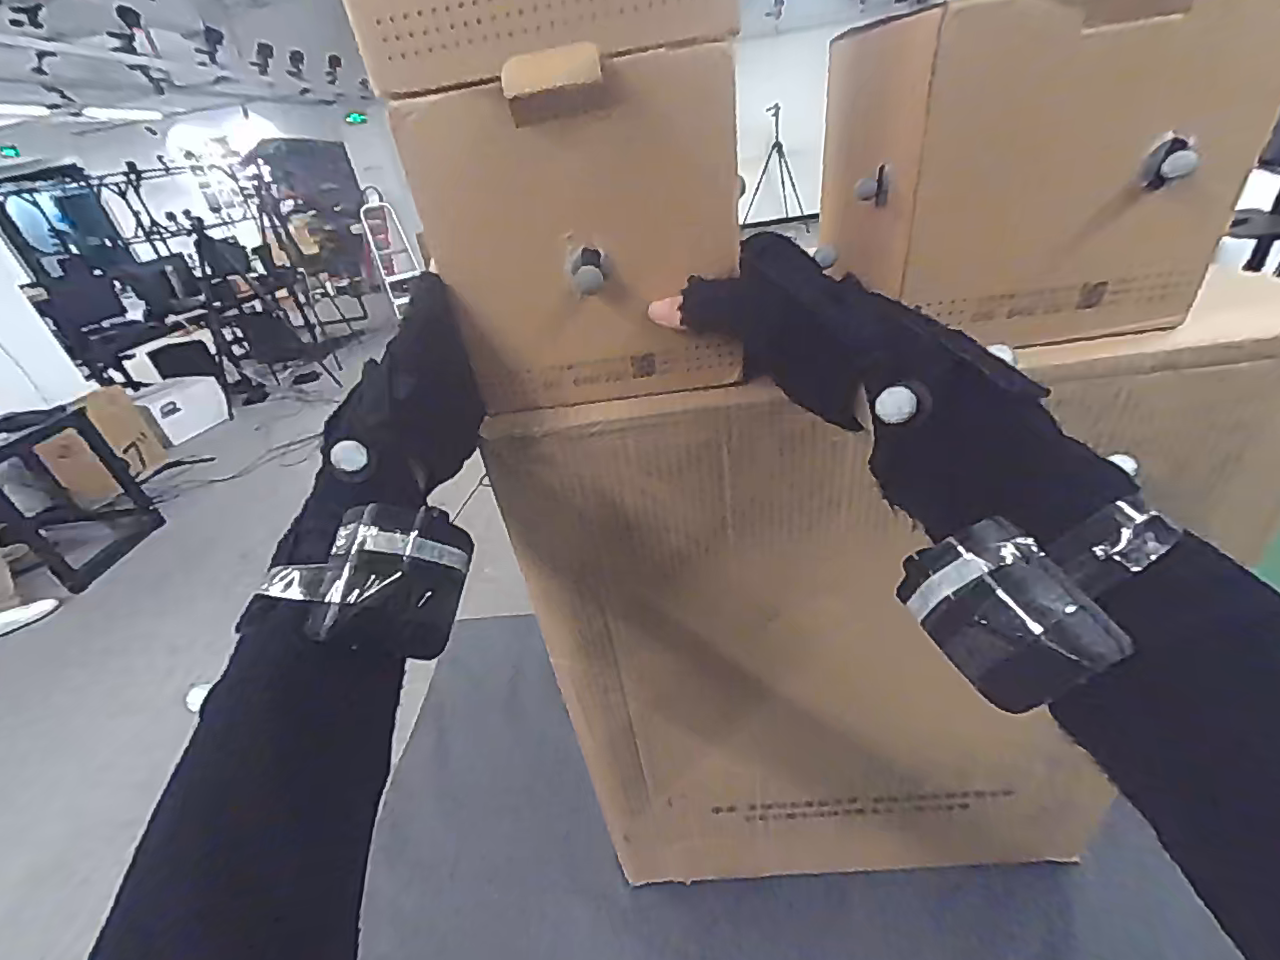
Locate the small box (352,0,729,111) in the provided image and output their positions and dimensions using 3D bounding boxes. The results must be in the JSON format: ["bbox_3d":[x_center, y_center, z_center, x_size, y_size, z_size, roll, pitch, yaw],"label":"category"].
[{"bbox_3d":[-0.048,-0.301,0.274,0.179,0.176,0.168,-6,34,6],"label":"small box"}]

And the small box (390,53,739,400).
[{"bbox_3d":[-0.027,-0.162,0.362,0.168,0.176,0.179,-5,35,5],"label":"small box"}]

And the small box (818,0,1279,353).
[{"bbox_3d":[0.219,-0.185,0.341,0.168,0.176,0.179,-4,33,4],"label":"small box"}]
